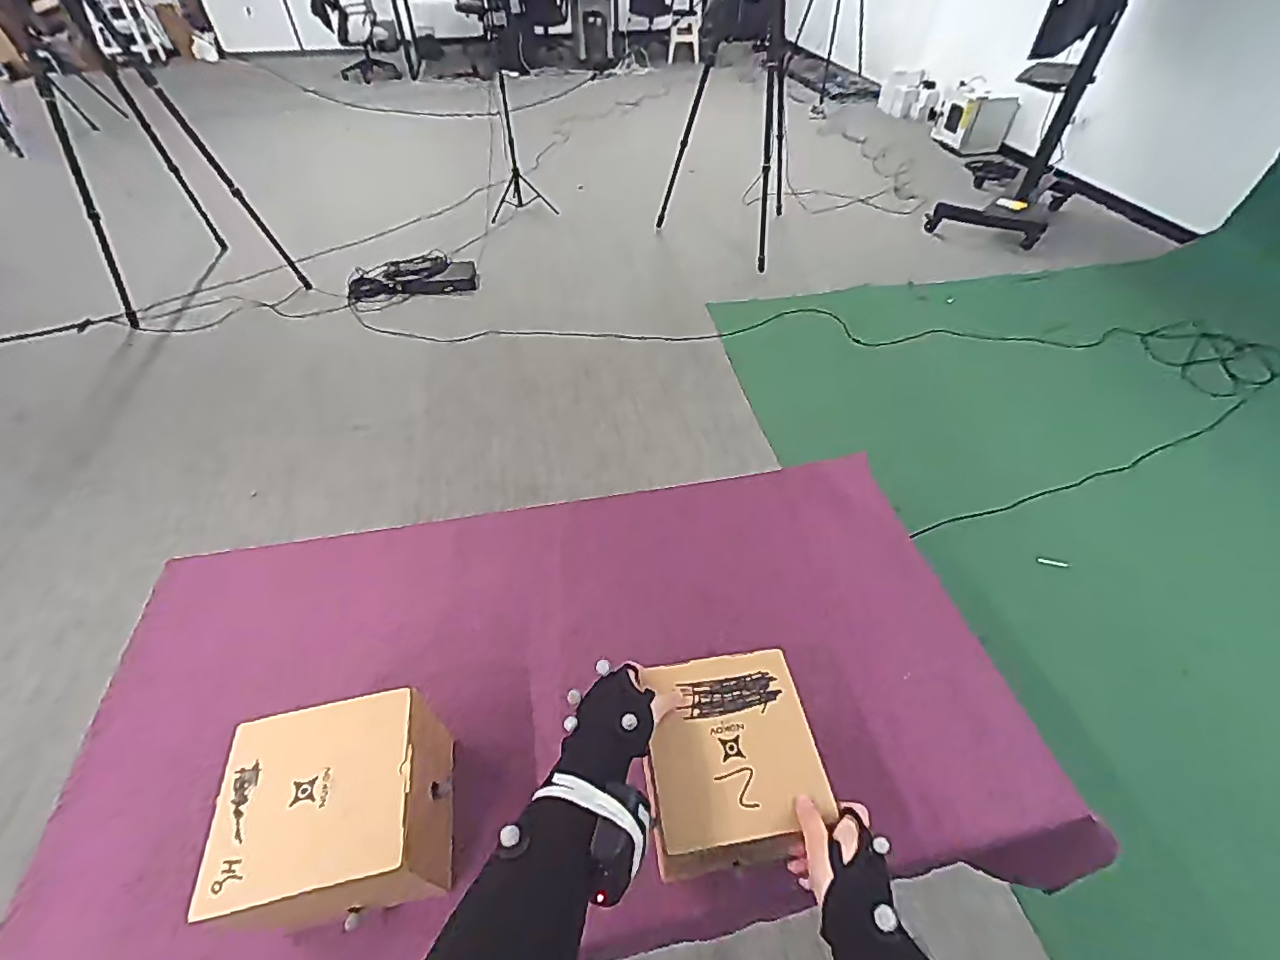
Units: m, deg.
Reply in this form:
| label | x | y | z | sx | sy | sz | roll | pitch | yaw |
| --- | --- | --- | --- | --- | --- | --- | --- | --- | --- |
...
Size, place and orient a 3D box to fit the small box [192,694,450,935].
| label | x | y | z | sx | sy | sz | roll | pitch | yaw |
| --- | --- | --- | --- | --- | --- | --- | --- | --- | --- |
| small box | -0.307 | 0.353 | 0.572 | 0.179 | 0.176 | 0.168 | -9 | 48 | -10 |
